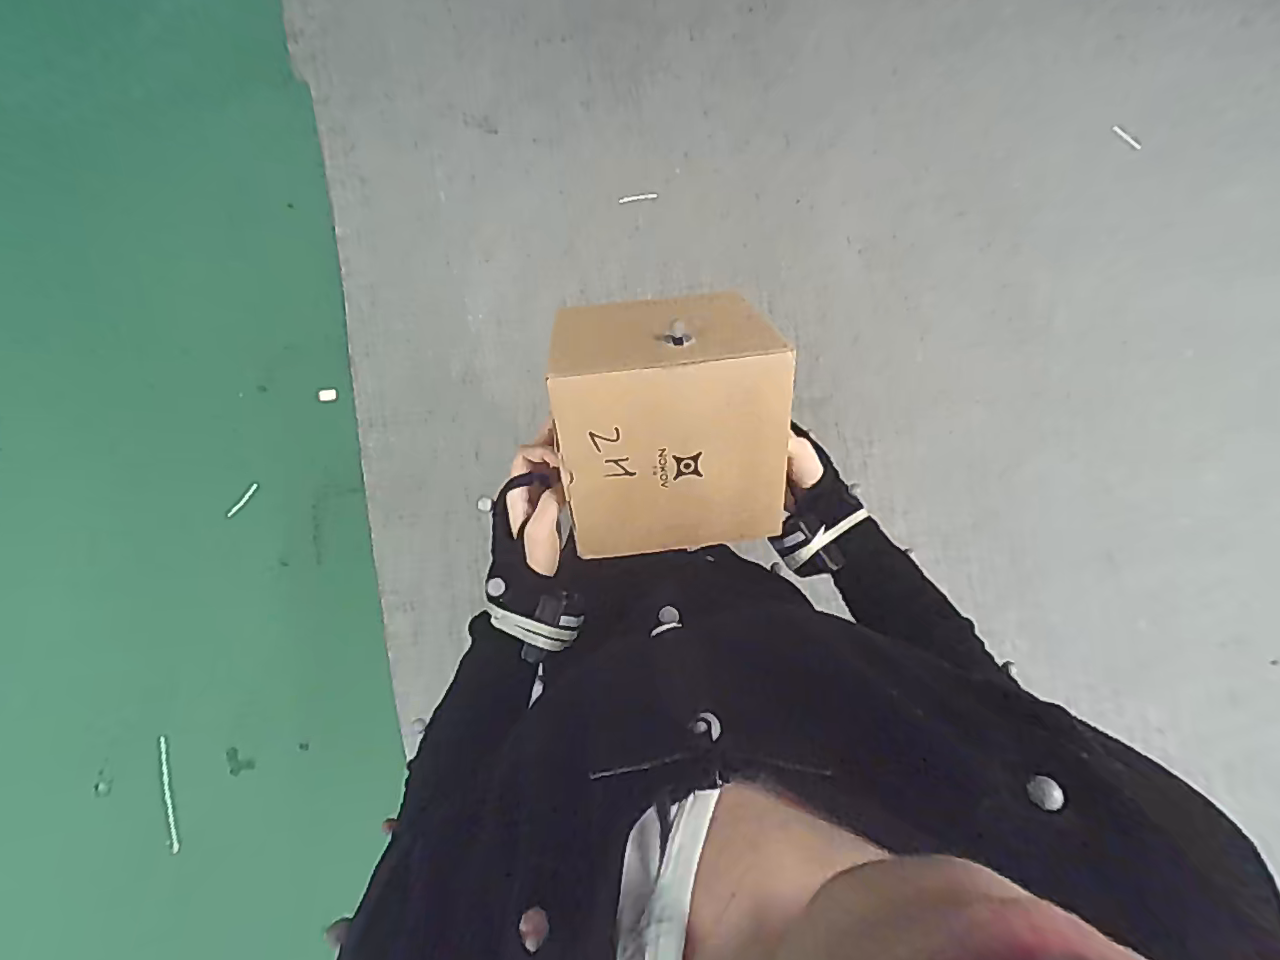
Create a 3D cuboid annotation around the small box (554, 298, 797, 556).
[{"bbox_3d":[0.023,-0.056,0.487,0.179,0.176,0.168,-6,123,-1],"label":"small box"}]
